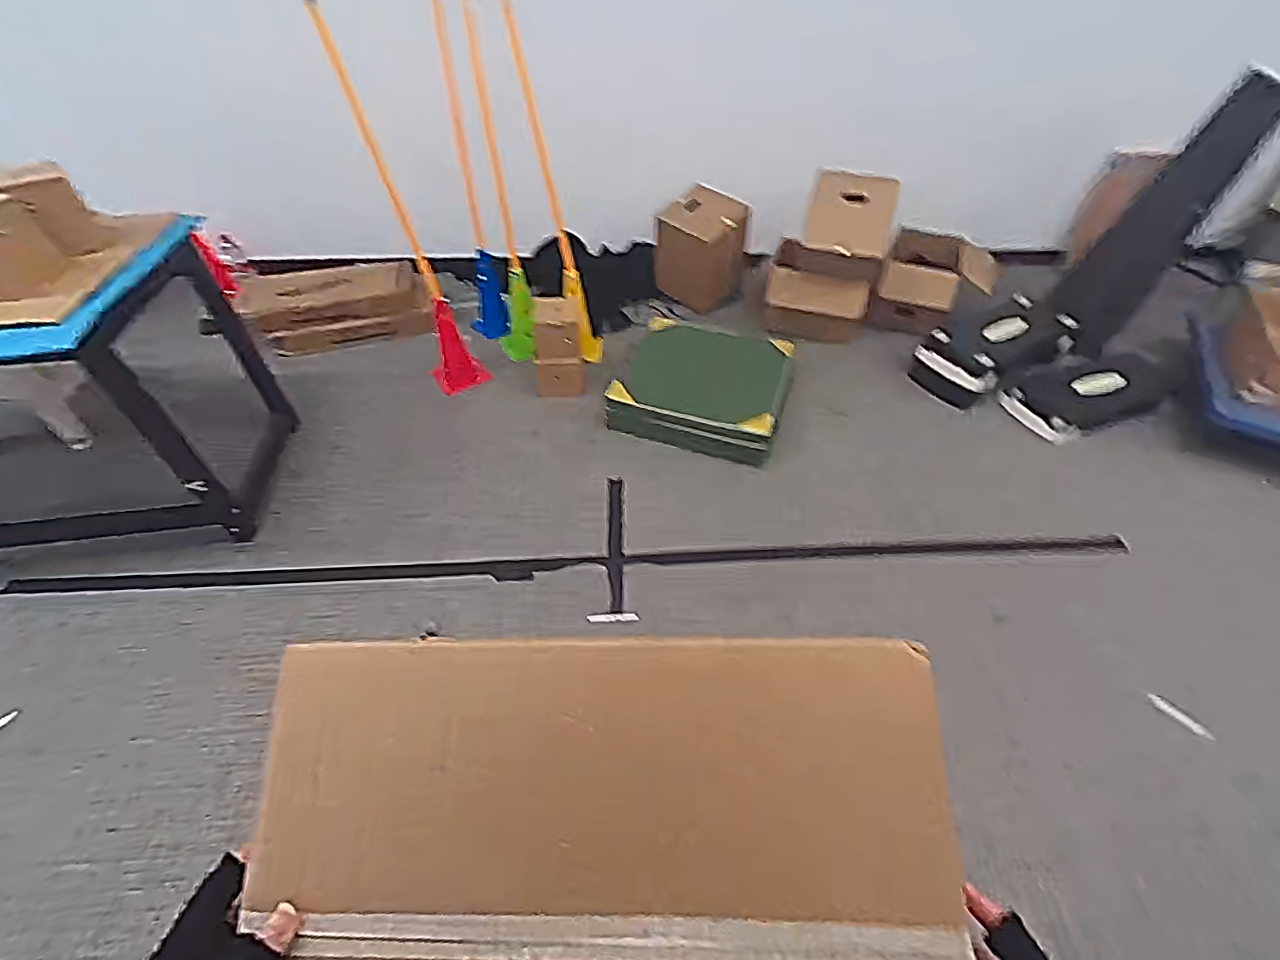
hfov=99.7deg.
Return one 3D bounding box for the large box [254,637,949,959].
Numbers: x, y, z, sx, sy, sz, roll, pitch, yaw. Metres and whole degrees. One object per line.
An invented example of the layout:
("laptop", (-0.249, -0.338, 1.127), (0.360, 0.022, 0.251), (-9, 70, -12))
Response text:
("large box", (-0.019, 0.298, 0.454), (0.408, 0.320, 0.320), (-2, 75, 4))
